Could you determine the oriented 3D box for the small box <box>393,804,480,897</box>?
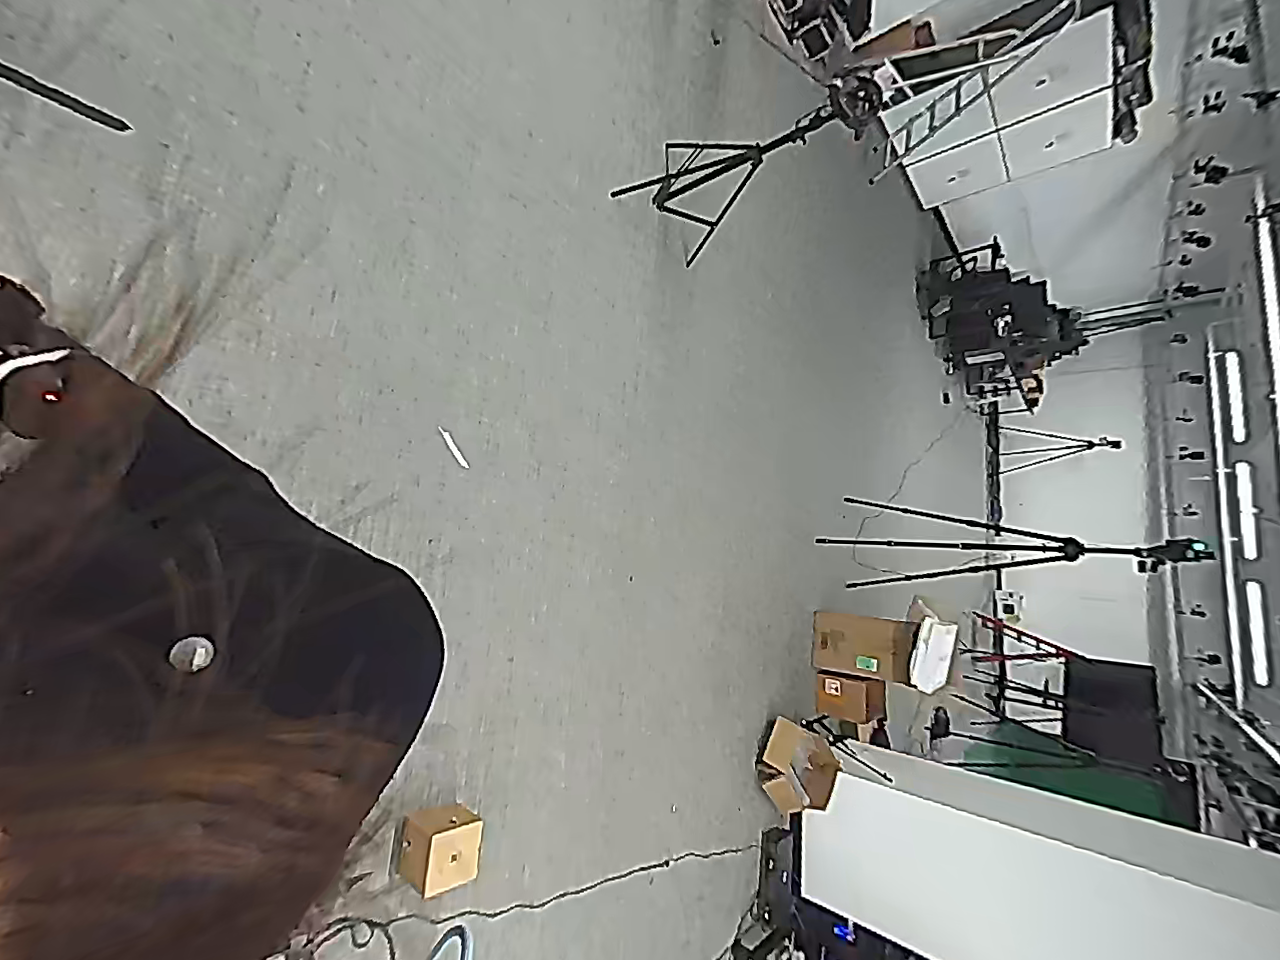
[{"bbox_3d":[-0.621,1.120,1.653,0.179,0.176,0.168,17,74,-47],"label":"small box"}]
